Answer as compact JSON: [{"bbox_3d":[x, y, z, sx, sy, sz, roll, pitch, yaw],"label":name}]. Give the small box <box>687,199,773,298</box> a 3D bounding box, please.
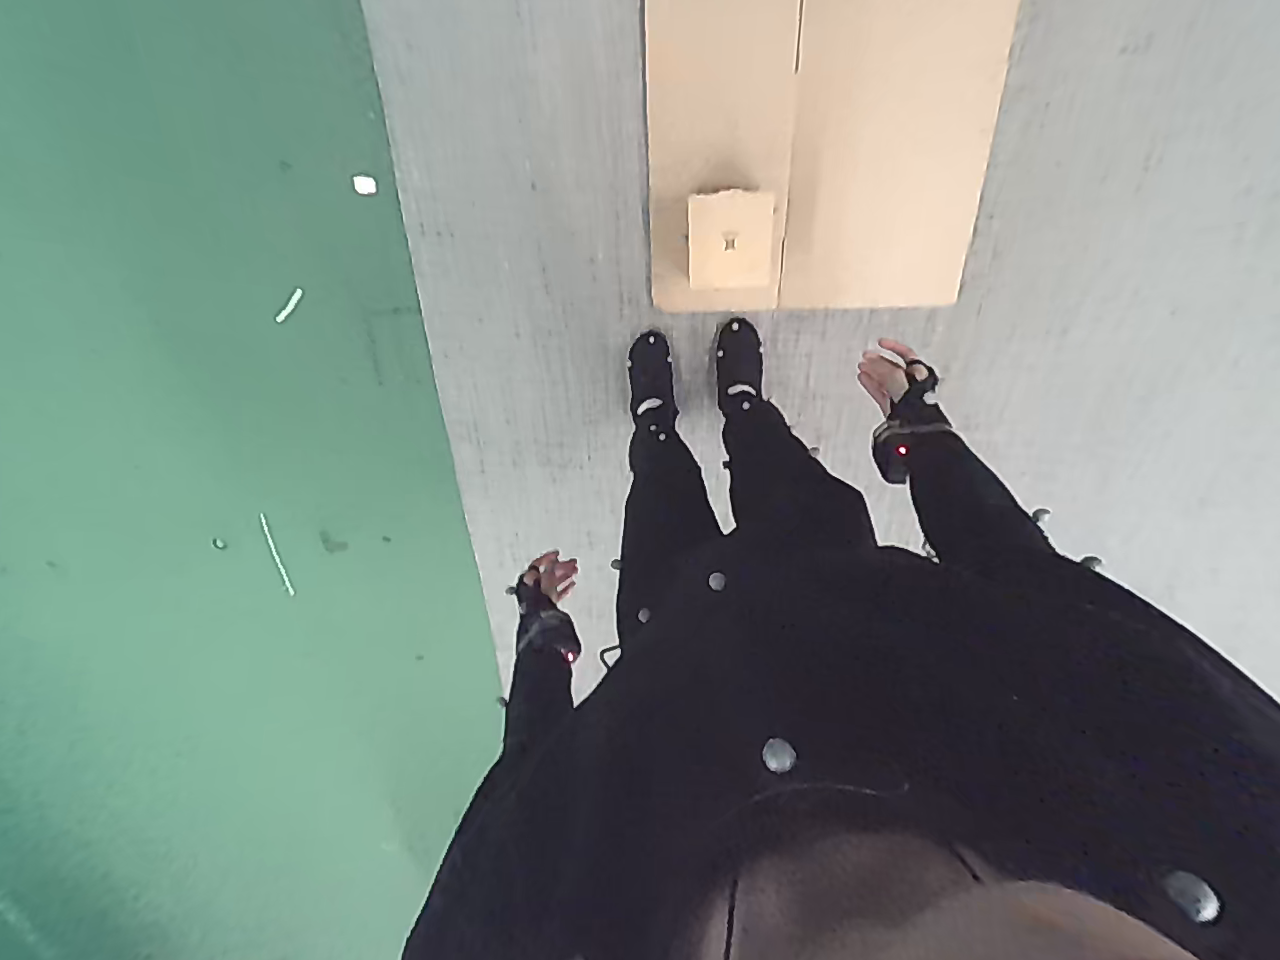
[{"bbox_3d":[0.183,-0.489,1.139,0.168,0.176,0.179,-2,115,5],"label":"small box"}]
